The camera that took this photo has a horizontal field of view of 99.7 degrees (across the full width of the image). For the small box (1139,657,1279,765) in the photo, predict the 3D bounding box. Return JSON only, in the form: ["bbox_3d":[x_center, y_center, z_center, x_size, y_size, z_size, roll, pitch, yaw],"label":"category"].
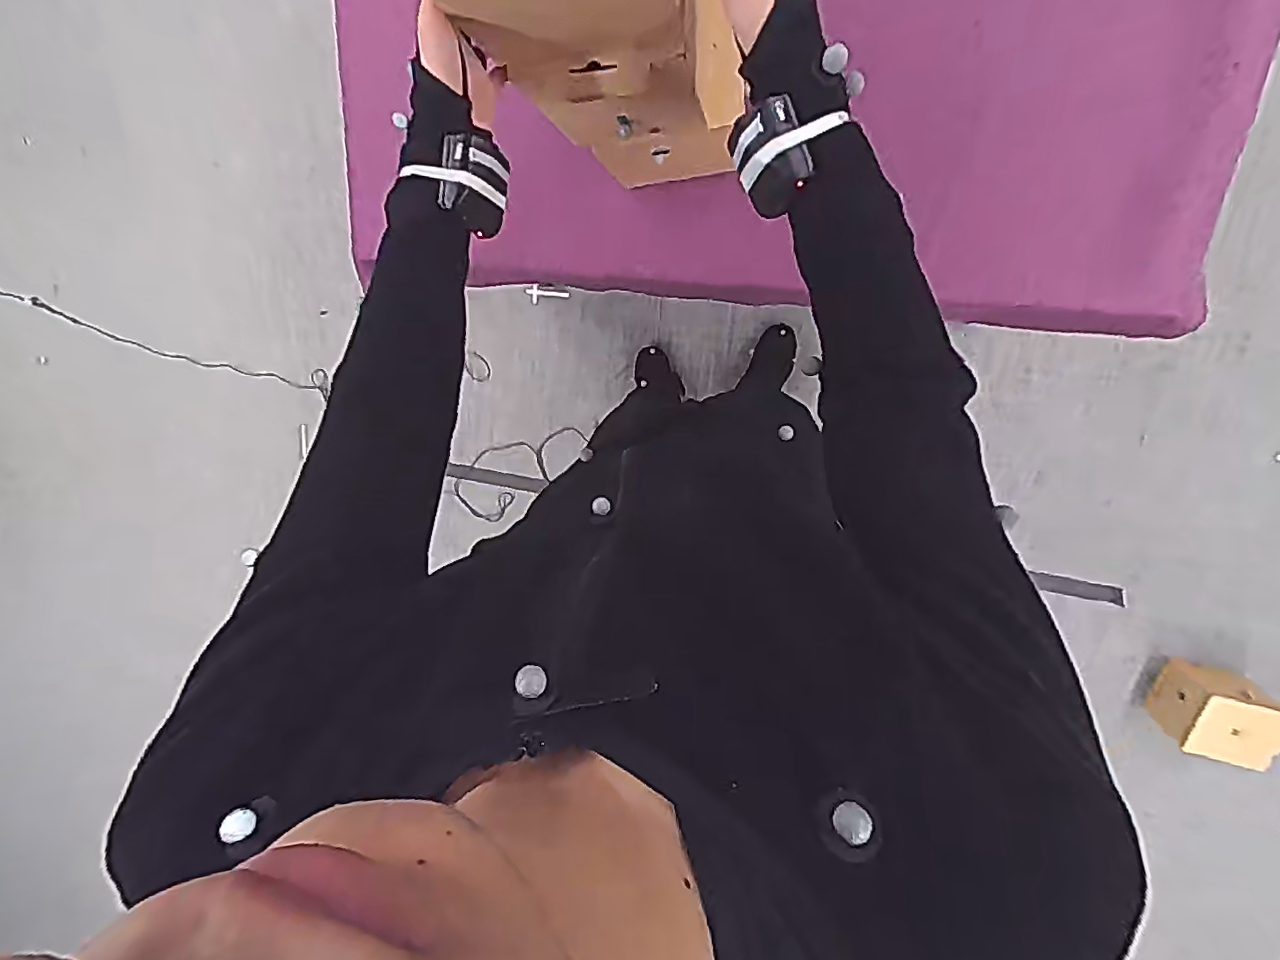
[{"bbox_3d":[1.446,0.579,1.382,0.179,0.176,0.168,13,107,10],"label":"small box"}]

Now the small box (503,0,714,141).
[{"bbox_3d":[-0.021,-0.461,0.525,0.168,0.176,0.179,4,105,14],"label":"small box"}]

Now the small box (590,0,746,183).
[{"bbox_3d":[0.038,-0.491,0.677,0.179,0.176,0.168,-2,104,14],"label":"small box"}]
